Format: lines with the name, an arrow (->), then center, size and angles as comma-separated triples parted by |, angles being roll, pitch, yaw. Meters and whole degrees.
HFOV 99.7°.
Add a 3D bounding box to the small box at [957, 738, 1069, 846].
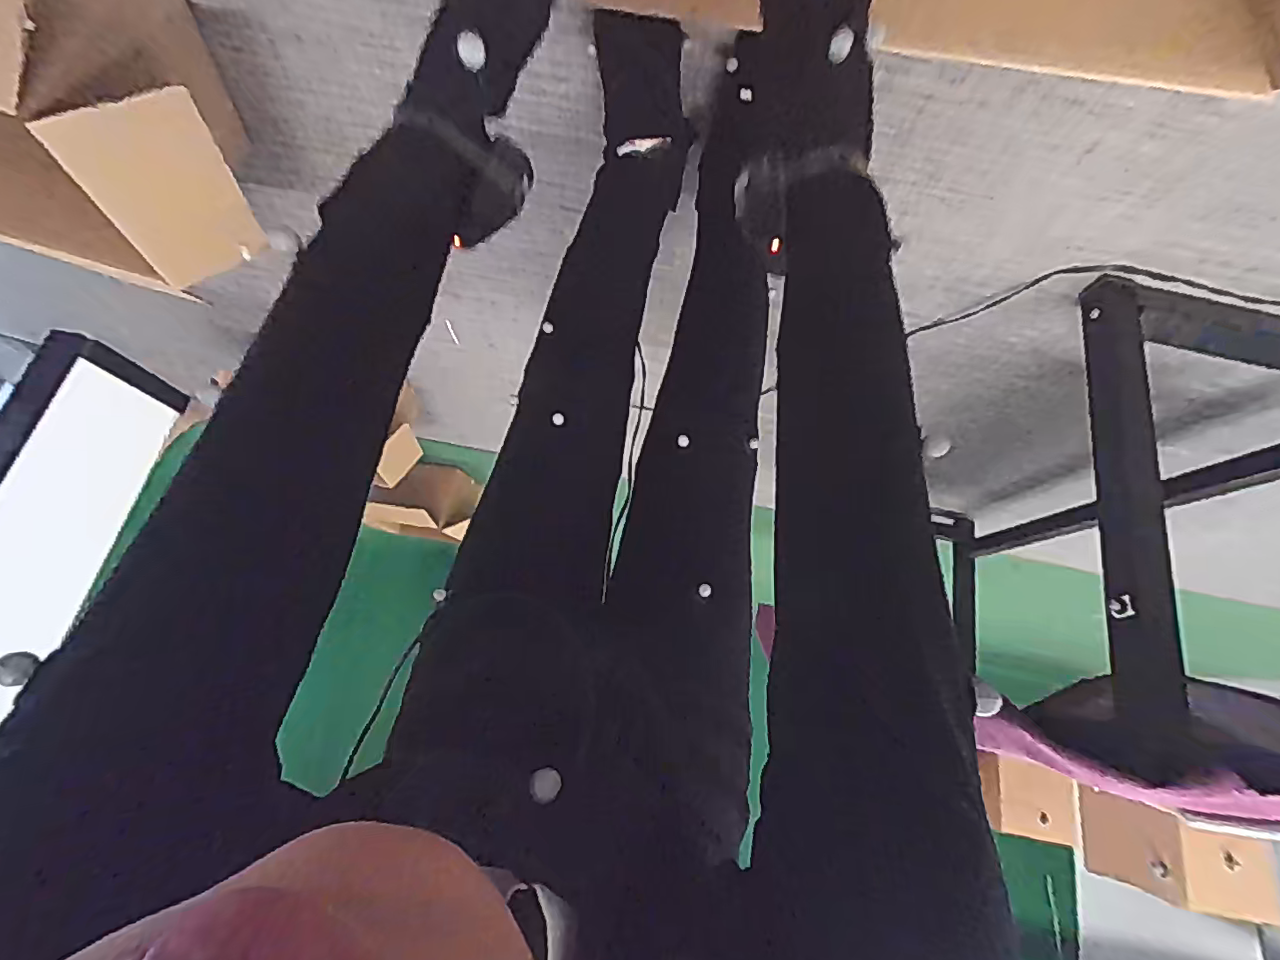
small box -> 0.861, 0.726, 1.275 | 0.179, 0.176, 0.168 | 13, 161, -2
